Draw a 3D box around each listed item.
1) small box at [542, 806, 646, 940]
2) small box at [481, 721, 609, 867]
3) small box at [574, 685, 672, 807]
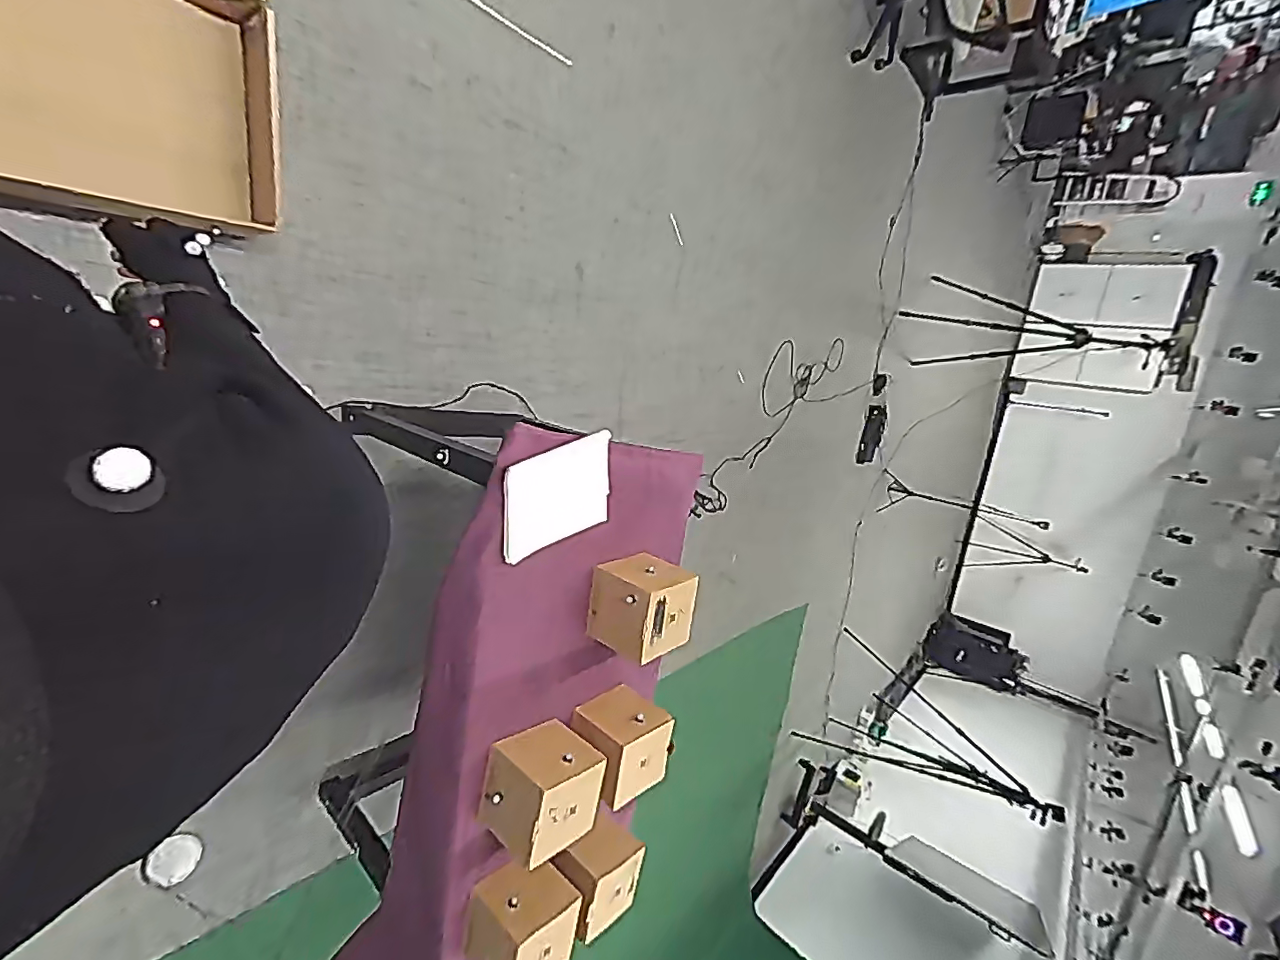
[{"bbox_3d":[-0.116,0.952,1.329,0.179,0.176,0.168,6,99,-50],"label":"small box"},{"bbox_3d":[-0.196,0.626,1.110,0.179,0.176,0.168,4,100,-51],"label":"small box"},{"bbox_3d":[-0.050,0.620,1.286,0.179,0.176,0.168,-5,107,-50],"label":"small box"}]
